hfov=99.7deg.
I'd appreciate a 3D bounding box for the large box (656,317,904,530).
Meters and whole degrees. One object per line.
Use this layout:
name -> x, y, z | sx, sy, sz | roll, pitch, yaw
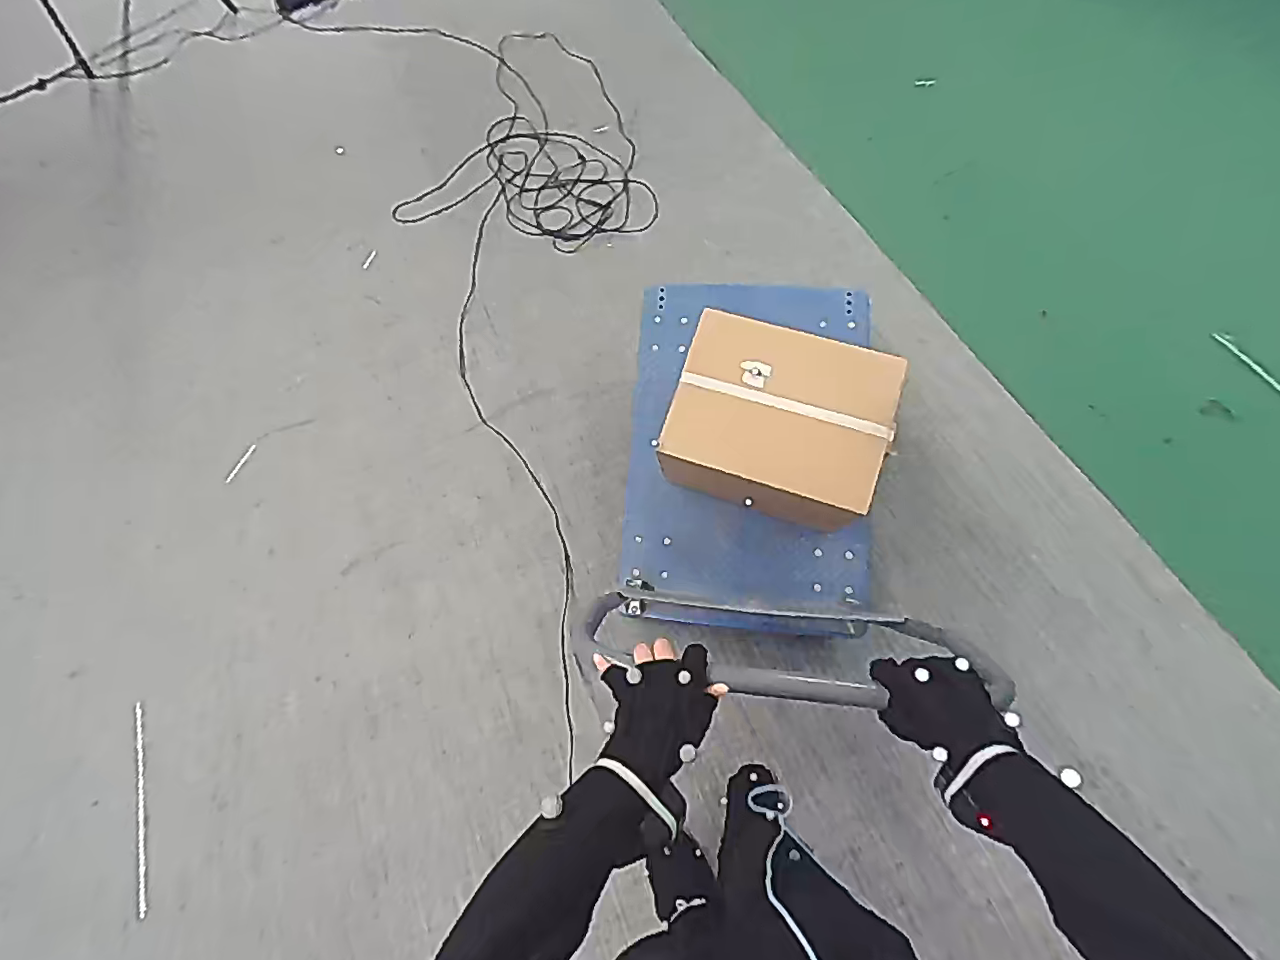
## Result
large box -> 0.285, -0.103, 1.173 | 0.408, 0.320, 0.320 | 18, 81, 10
